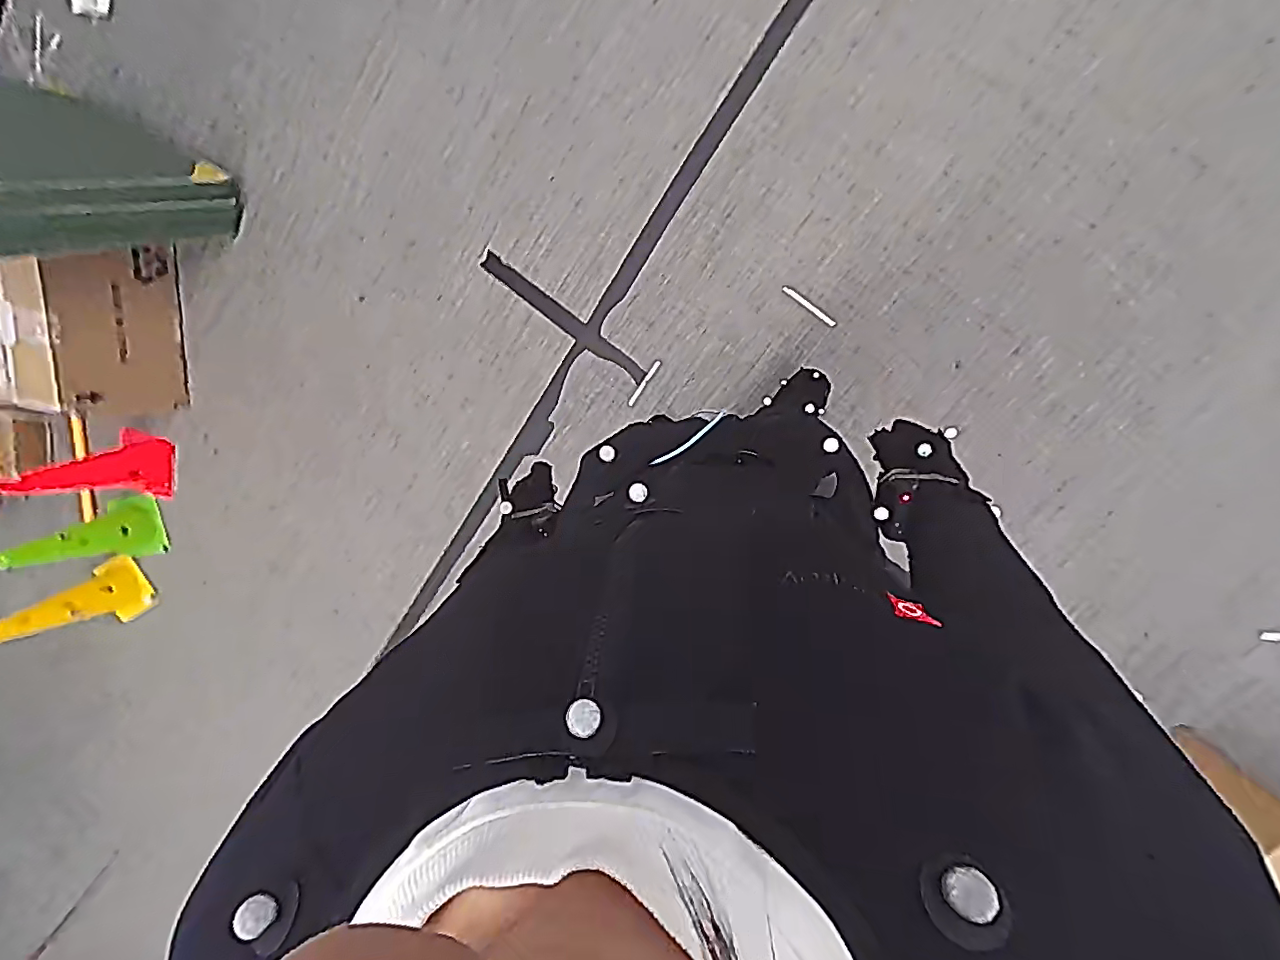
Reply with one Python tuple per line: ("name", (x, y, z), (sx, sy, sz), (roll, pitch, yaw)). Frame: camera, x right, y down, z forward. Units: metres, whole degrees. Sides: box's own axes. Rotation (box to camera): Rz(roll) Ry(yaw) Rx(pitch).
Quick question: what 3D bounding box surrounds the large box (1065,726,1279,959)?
("large box", (1.321, 0.873, 1.237), (0.320, 0.320, 0.408), (34, 104, 1))
